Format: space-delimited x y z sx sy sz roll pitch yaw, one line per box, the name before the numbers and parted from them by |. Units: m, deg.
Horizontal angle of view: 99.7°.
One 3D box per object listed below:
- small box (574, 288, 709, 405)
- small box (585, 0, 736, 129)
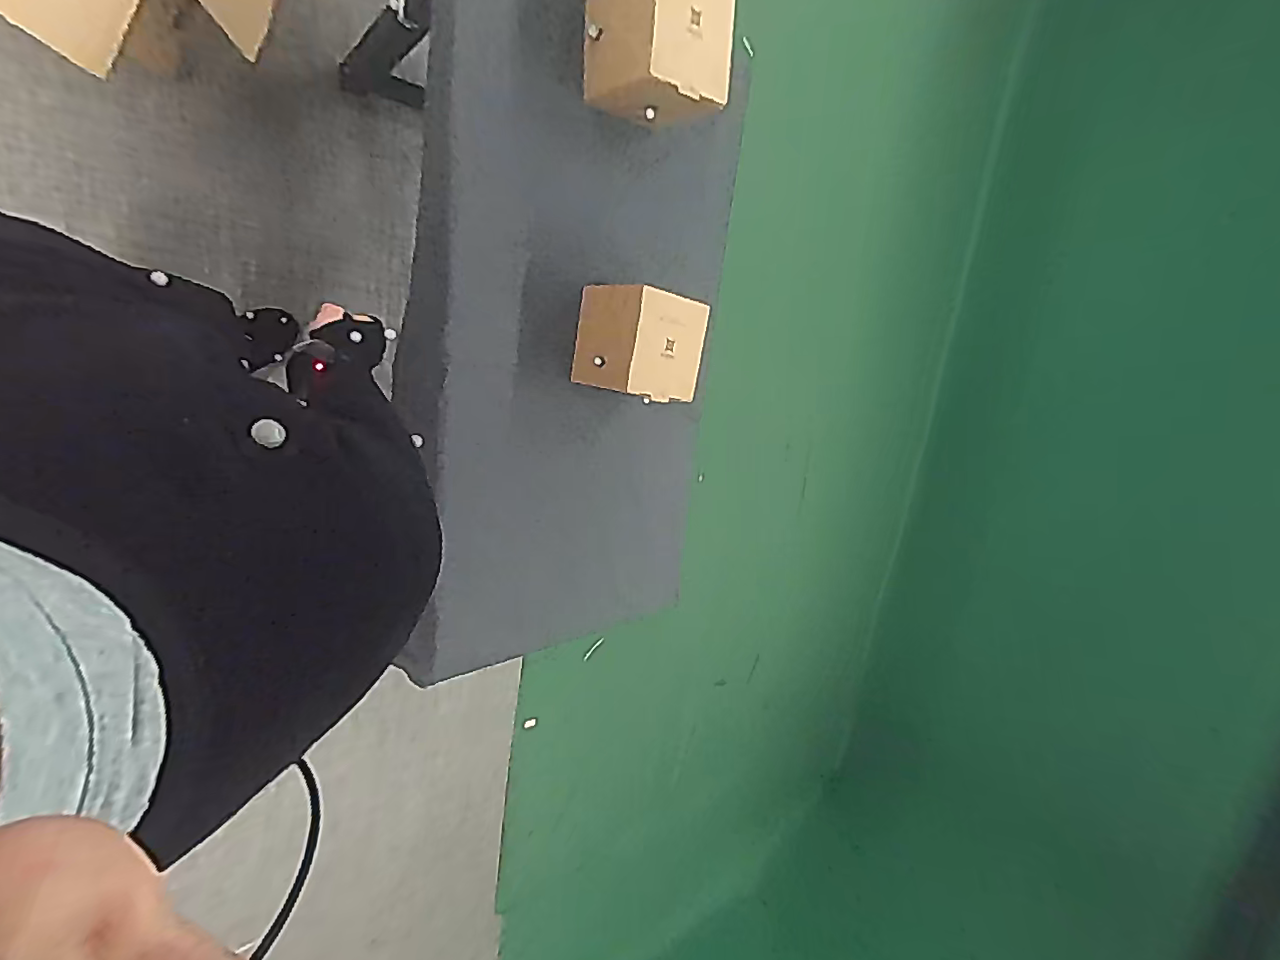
small box | -0.002 -0.239 0.980 0.168 0.176 0.179 -1 104 -43
small box | 0.026 -0.682 0.852 0.168 0.176 0.179 -11 113 -40
